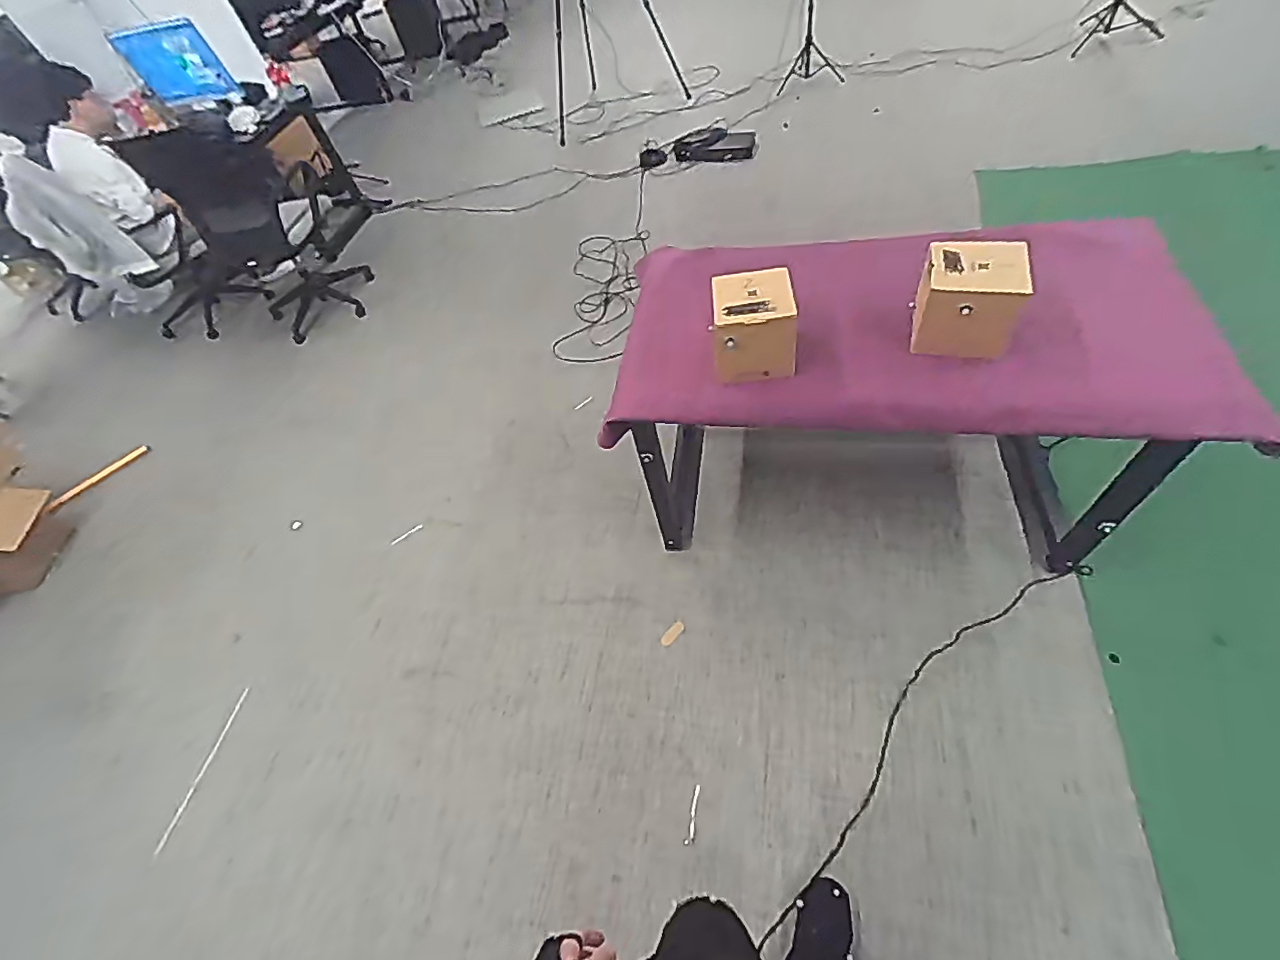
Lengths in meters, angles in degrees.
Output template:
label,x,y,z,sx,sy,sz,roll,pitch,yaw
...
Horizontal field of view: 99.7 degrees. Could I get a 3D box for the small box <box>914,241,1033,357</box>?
label,x,y,z,sx,sy,sz,roll,pitch,yaw
small box,0.683,-0.375,1.127,0.179,0.176,0.168,10,58,18
